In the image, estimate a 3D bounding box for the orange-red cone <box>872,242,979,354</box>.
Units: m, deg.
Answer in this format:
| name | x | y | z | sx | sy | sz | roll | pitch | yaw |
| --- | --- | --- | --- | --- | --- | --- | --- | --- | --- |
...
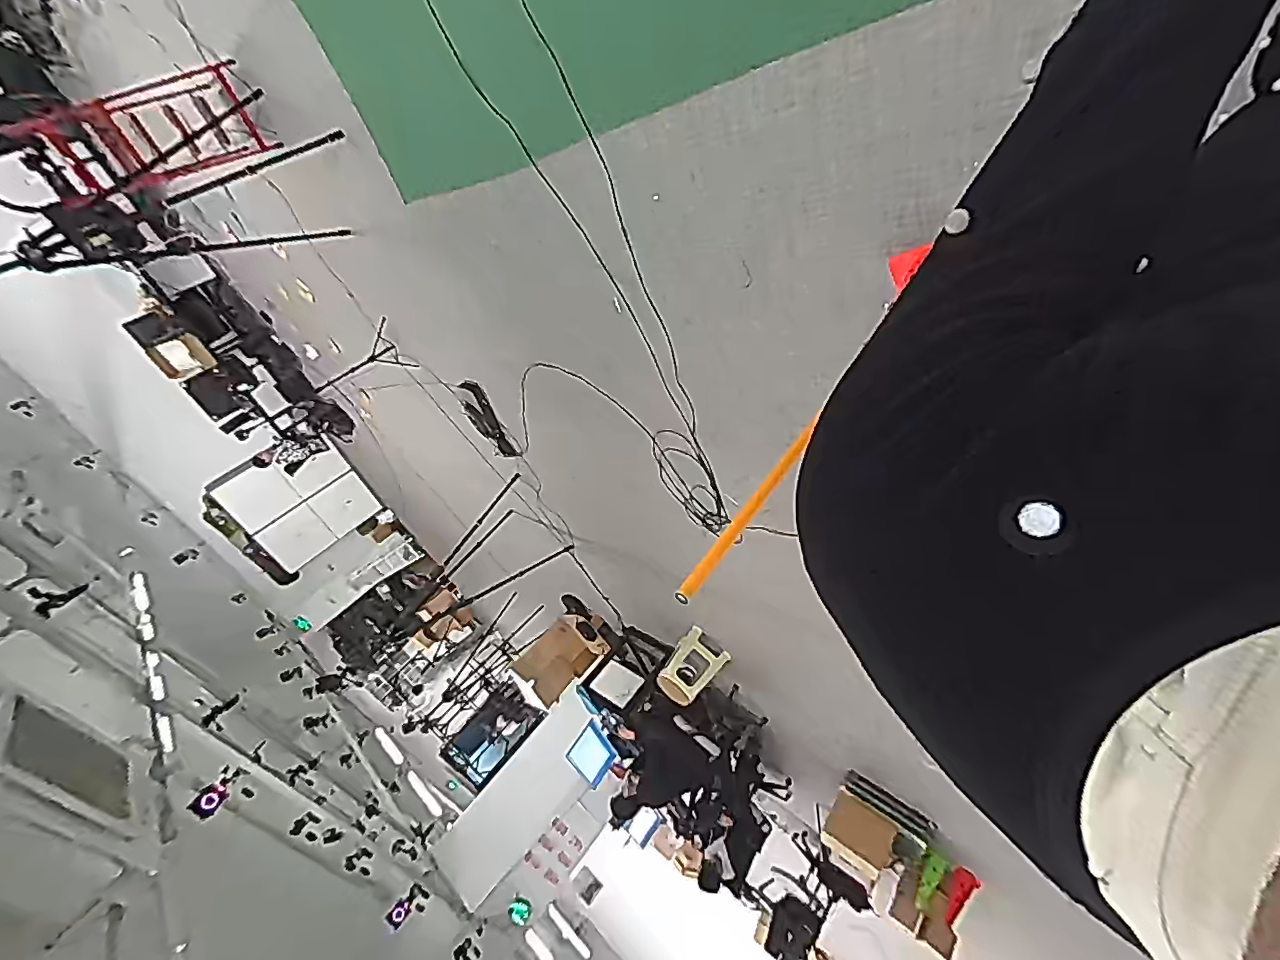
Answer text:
| name | x | y | z | sx | sy | sz | roll | pitch | yaw |
| --- | --- | --- | --- | --- | --- | --- | --- | --- | --- |
| orange-red cone | 0.689 | -0.426 | 1.390 | 0.199 | 0.360 | 0.198 | -1 | 126 | 55 |
